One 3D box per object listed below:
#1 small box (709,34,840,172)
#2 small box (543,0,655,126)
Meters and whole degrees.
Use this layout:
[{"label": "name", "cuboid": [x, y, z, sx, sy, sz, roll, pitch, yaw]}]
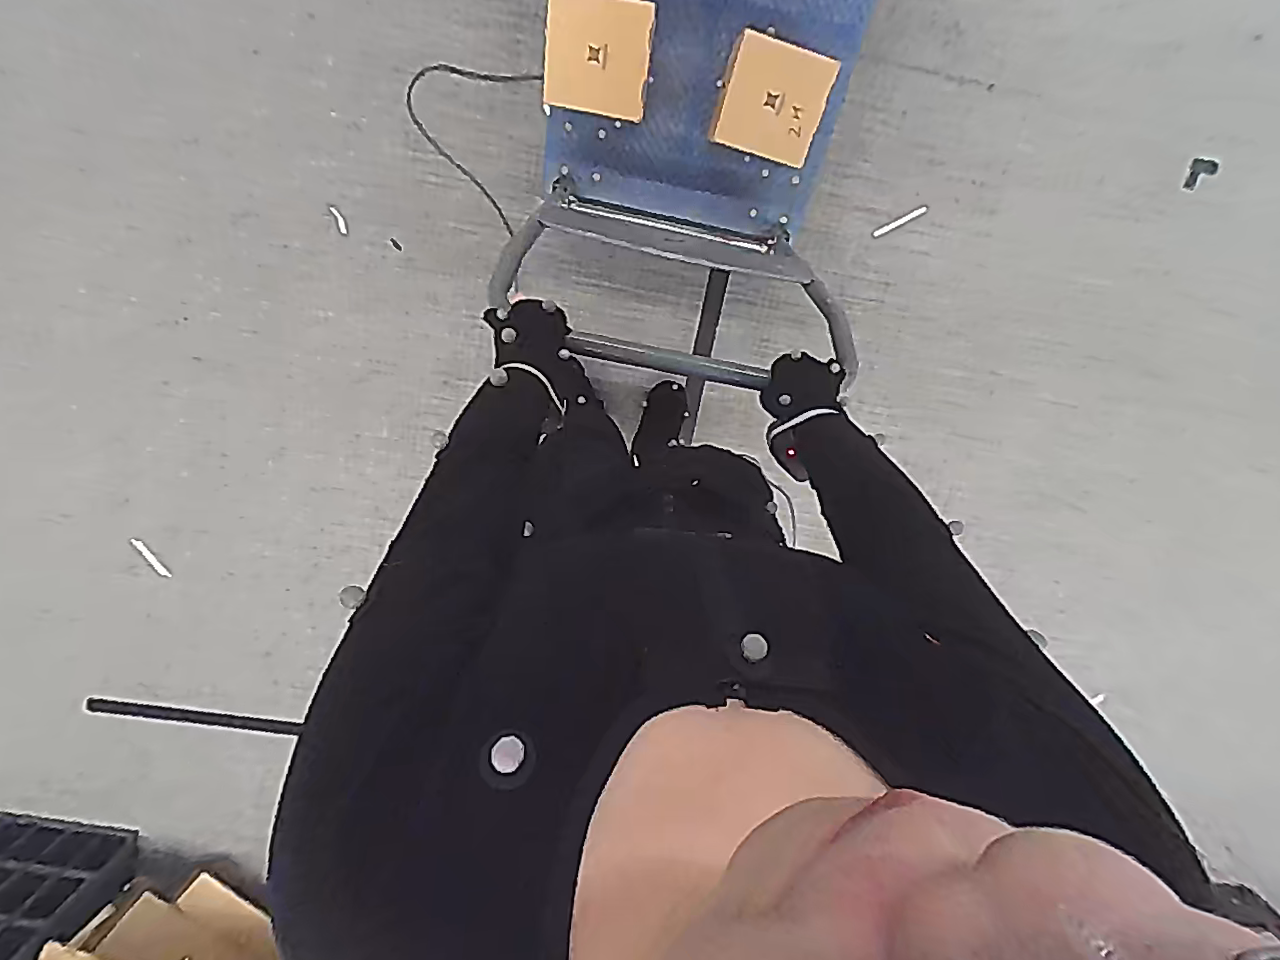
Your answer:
[{"label": "small box", "cuboid": [0.238, -0.697, 1.016, 0.179, 0.176, 0.168, 14, 122, -7]}, {"label": "small box", "cuboid": [-0.073, -0.756, 0.986, 0.179, 0.176, 0.168, 7, 122, -5]}]
